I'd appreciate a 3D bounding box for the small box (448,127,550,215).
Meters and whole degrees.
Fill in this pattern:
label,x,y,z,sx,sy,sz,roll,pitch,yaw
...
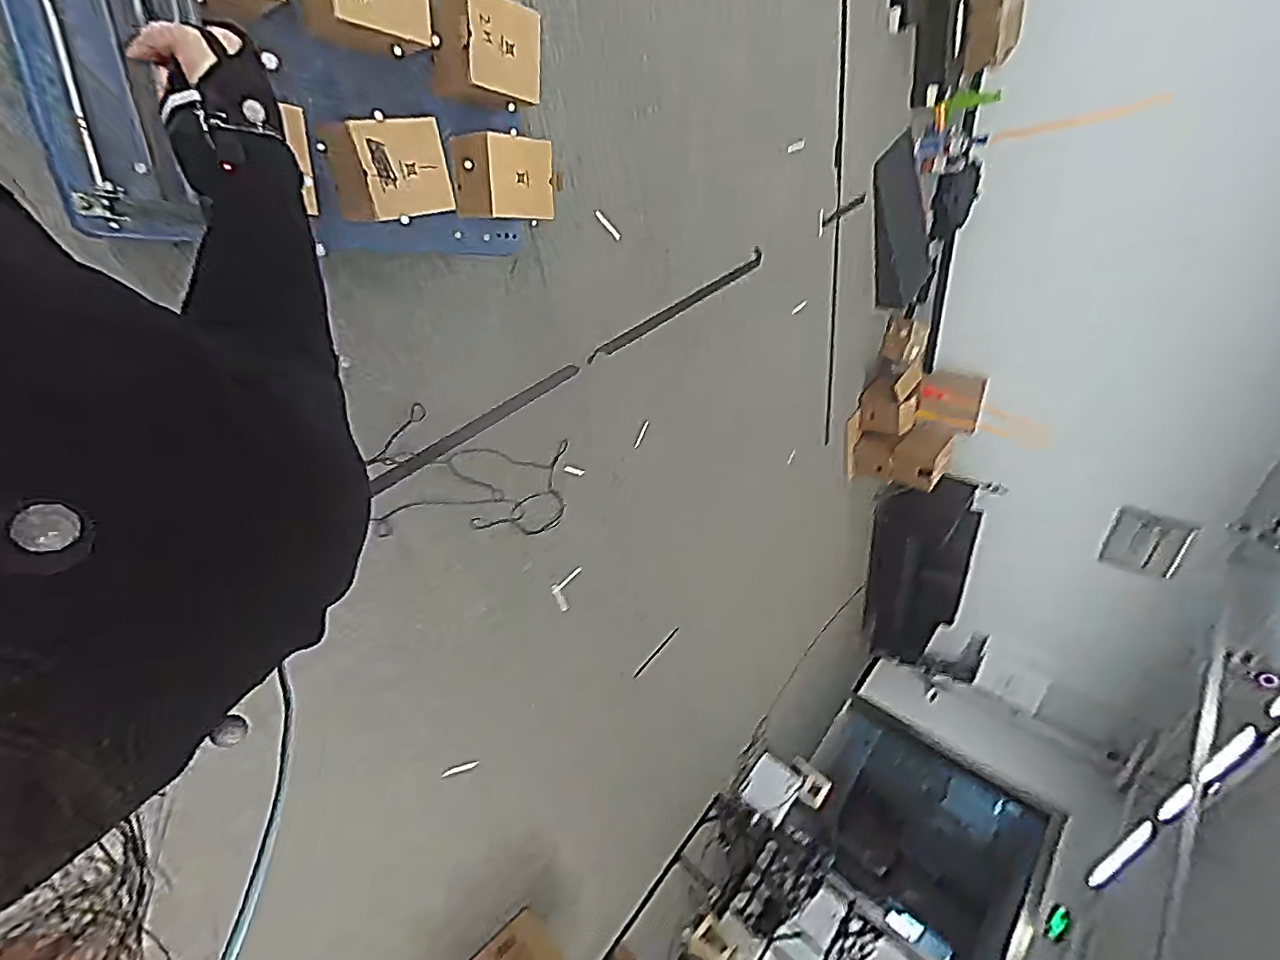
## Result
label,x,y,z,sx,sy,sz,roll,pitch,yaw
small box,-0.337,-0.724,1.284,0.179,0.176,0.168,-24,125,-42

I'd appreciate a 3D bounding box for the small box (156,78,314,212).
label,x,y,z,sx,sy,sz,roll,pitch,yaw
small box,-0.696,-0.560,0.930,0.179,0.176,0.168,-20,124,-45

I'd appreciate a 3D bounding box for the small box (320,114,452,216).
label,x,y,z,sx,sy,sz,roll,pitch,yaw
small box,-0.521,-0.638,1.102,0.179,0.176,0.168,-34,132,-37

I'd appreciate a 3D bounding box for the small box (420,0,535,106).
label,x,y,z,sx,sy,sz,roll,pitch,yaw
small box,-0.347,-0.926,1.164,0.179,0.176,0.168,-18,121,-44

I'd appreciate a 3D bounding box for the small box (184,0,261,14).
label,x,y,z,sx,sy,sz,roll,pitch,yaw
small box,-0.681,-0.832,0.806,0.179,0.176,0.168,-24,127,-42
